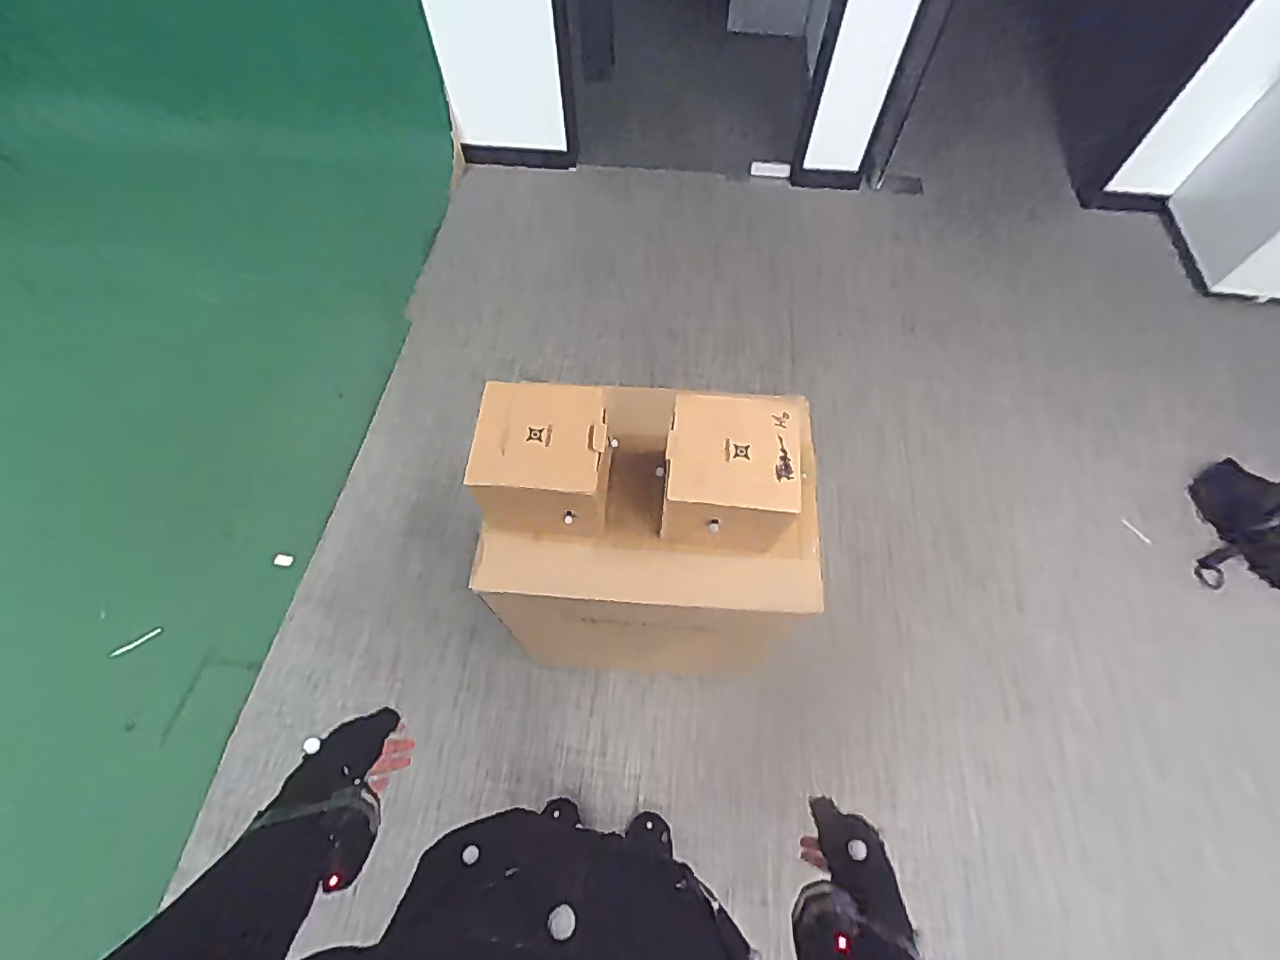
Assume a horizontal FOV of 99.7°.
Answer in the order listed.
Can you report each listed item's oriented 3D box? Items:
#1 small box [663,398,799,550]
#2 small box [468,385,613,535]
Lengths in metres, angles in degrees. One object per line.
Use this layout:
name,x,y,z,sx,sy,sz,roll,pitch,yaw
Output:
small box,0.127,-0.003,0.802,0.179,0.176,0.168,5,65,3
small box,-0.134,-0.022,0.810,0.179,0.176,0.168,3,64,2
